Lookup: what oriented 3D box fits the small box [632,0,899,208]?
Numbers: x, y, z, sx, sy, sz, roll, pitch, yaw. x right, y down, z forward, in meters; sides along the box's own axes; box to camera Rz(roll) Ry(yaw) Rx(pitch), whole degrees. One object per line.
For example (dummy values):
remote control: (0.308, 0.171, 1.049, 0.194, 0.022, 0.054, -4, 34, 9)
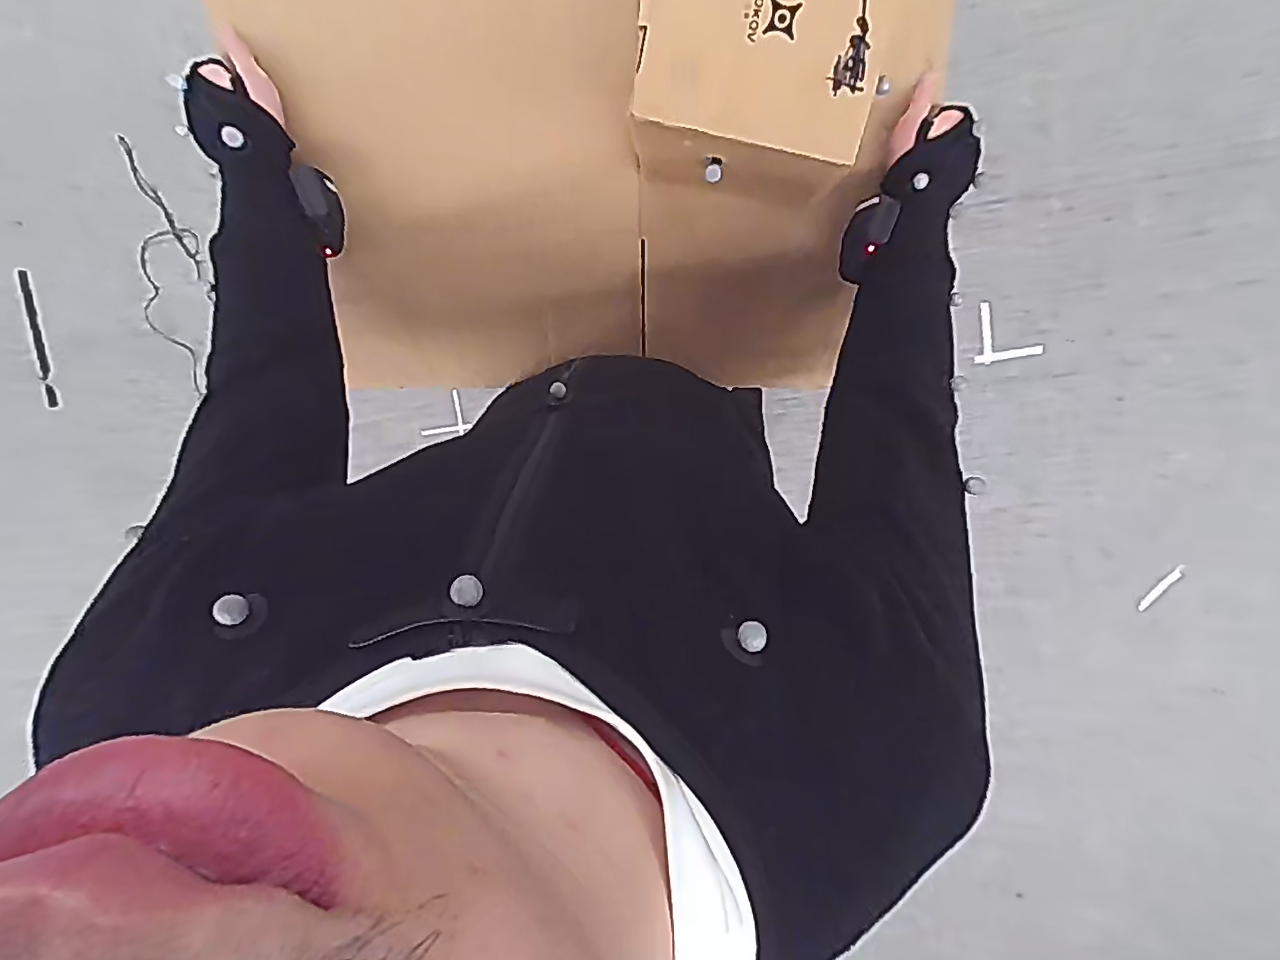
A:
small box: (0.103, -0.356, 0.471, 0.179, 0.176, 0.168, 14, 106, 2)
